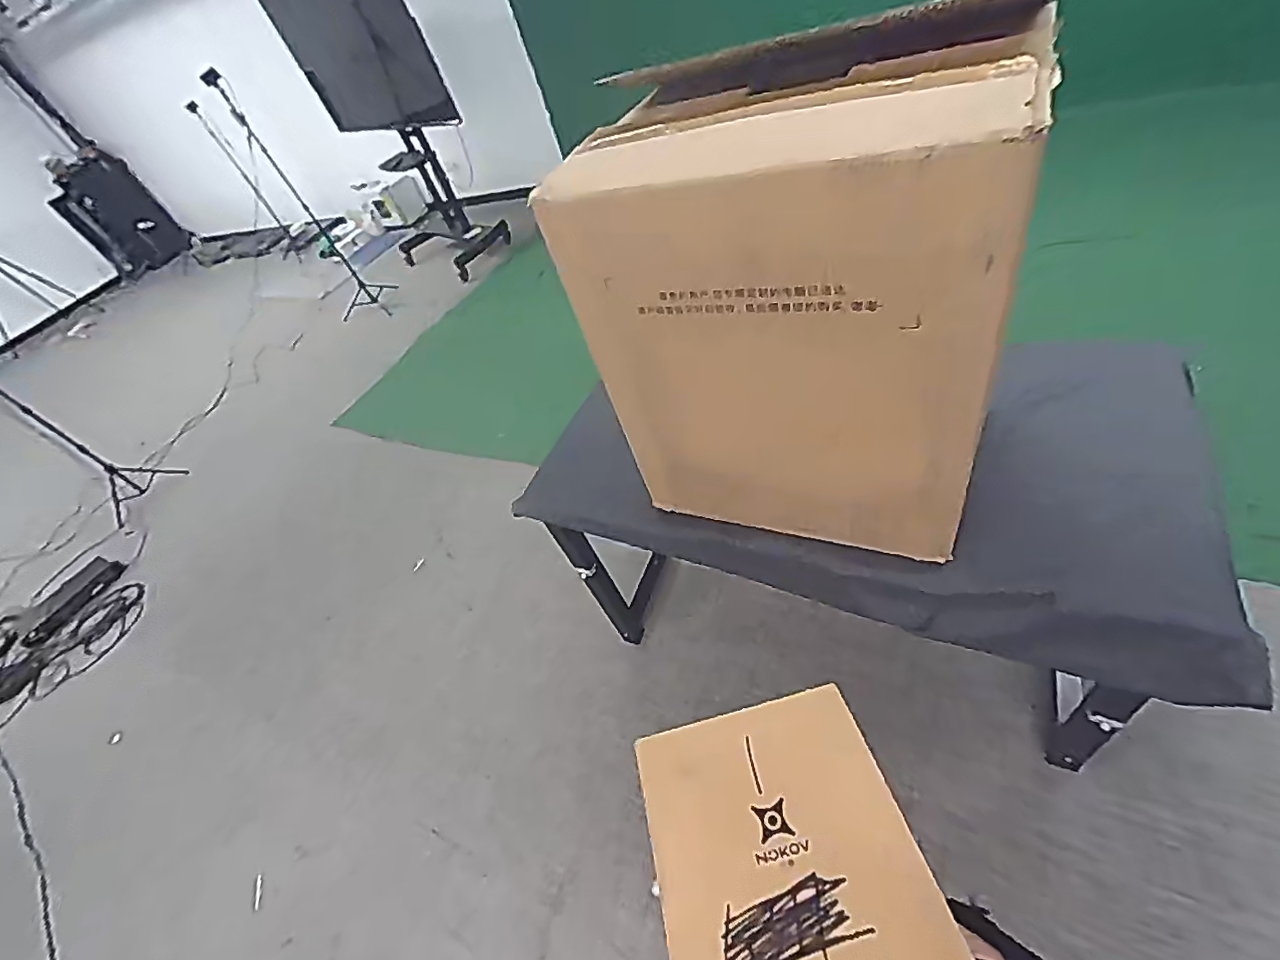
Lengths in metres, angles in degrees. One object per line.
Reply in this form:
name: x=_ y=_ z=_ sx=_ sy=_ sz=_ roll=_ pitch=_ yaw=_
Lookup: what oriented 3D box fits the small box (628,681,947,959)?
small box: x=0.098 y=0.291 z=0.413 sx=0.168 sy=0.176 sz=0.179 roll=-15 pitch=40 yaw=1
